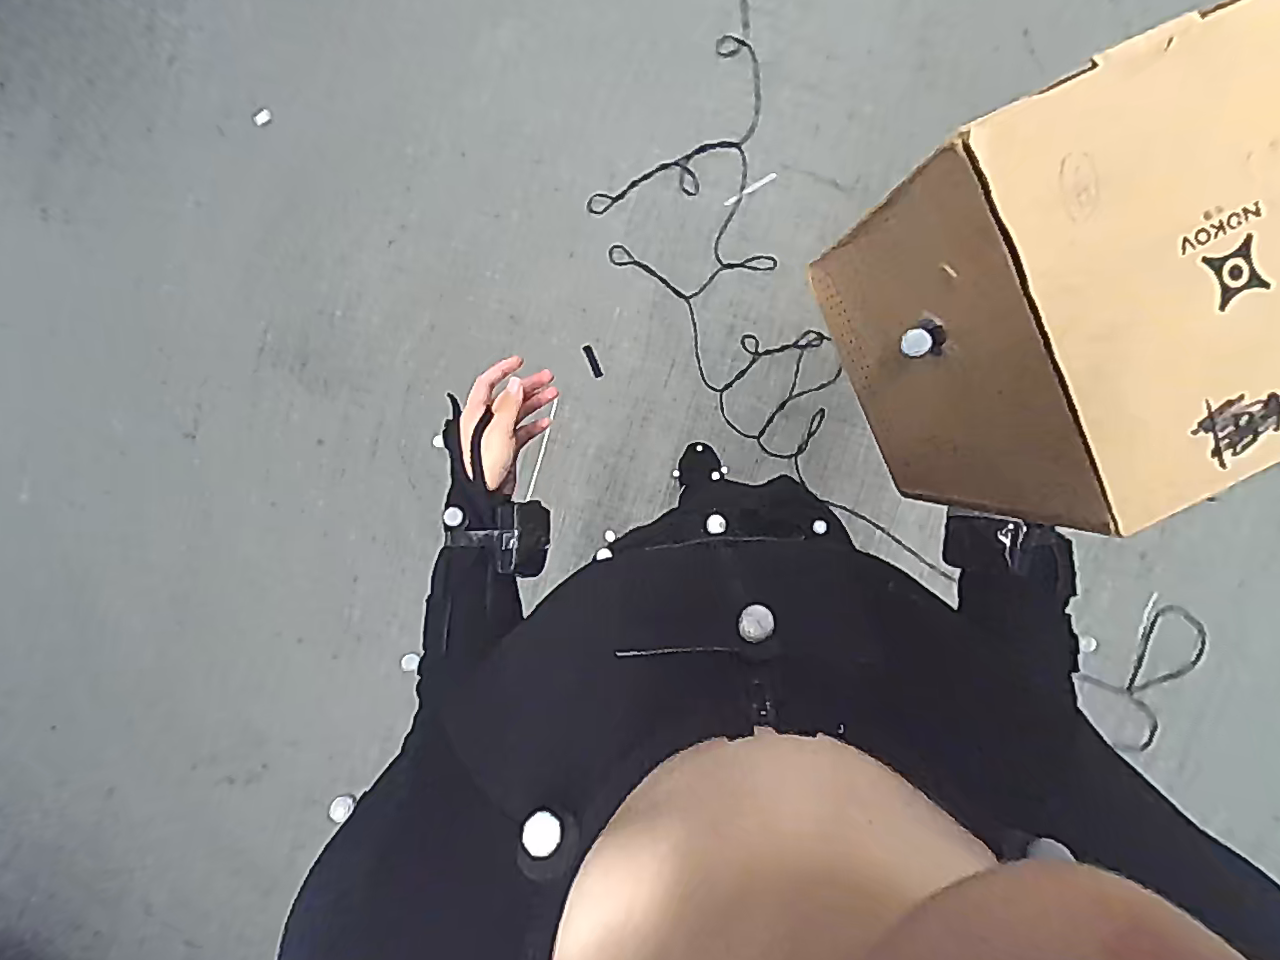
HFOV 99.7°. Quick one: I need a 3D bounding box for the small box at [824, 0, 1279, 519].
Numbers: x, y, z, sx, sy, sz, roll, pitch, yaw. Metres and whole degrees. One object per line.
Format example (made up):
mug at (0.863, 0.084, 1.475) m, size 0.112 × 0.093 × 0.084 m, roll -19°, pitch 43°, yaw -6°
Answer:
small box at (0.231, -0.097, 0.300) m, size 0.168 × 0.176 × 0.179 m, roll -26°, pitch 94°, yaw 0°
